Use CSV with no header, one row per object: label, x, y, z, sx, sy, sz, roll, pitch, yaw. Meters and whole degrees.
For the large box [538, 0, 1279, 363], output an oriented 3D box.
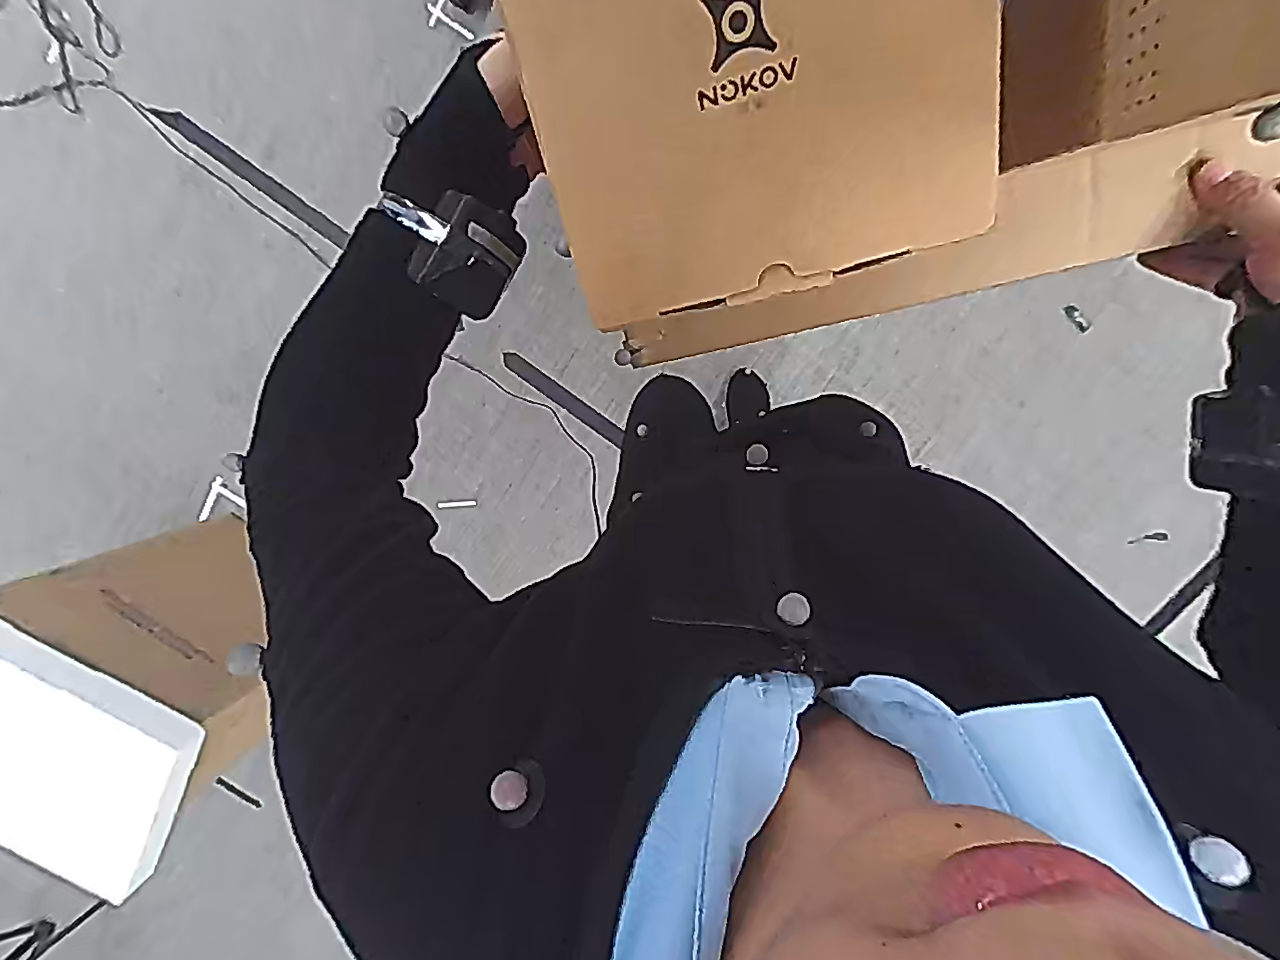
large box,0.177,-0.321,0.454,0.408,0.320,0.320,-10,108,17
